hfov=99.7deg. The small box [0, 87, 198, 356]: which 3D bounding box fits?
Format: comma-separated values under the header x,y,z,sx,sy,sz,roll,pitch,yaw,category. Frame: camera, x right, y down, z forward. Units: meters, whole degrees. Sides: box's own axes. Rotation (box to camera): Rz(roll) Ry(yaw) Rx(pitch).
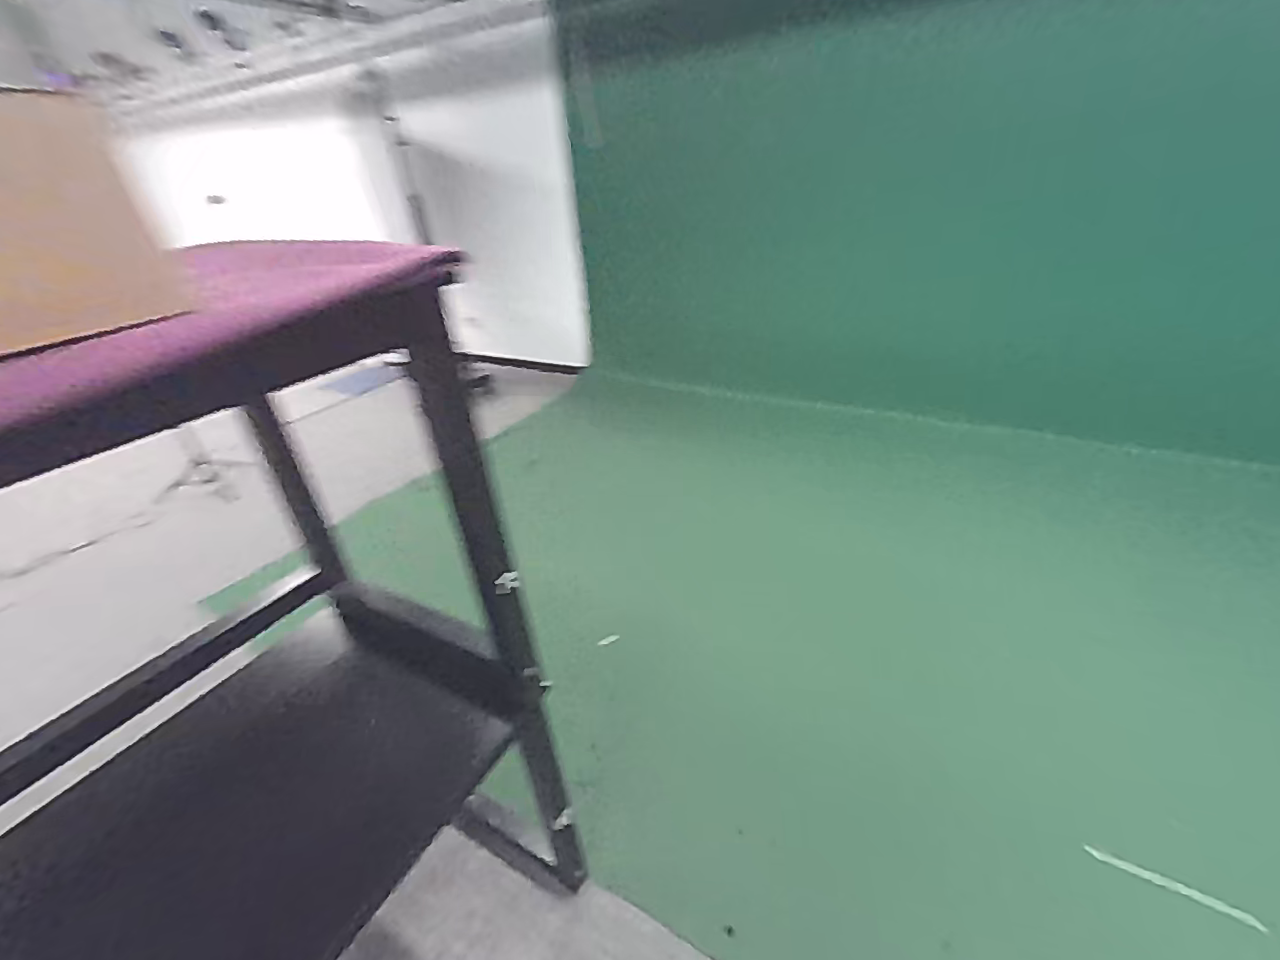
x,y,z,sx,sy,sz,roll,pitch,yaw,category
-0.524,-0.201,0.440,0.168,0.176,0.179,12,34,29,small box
